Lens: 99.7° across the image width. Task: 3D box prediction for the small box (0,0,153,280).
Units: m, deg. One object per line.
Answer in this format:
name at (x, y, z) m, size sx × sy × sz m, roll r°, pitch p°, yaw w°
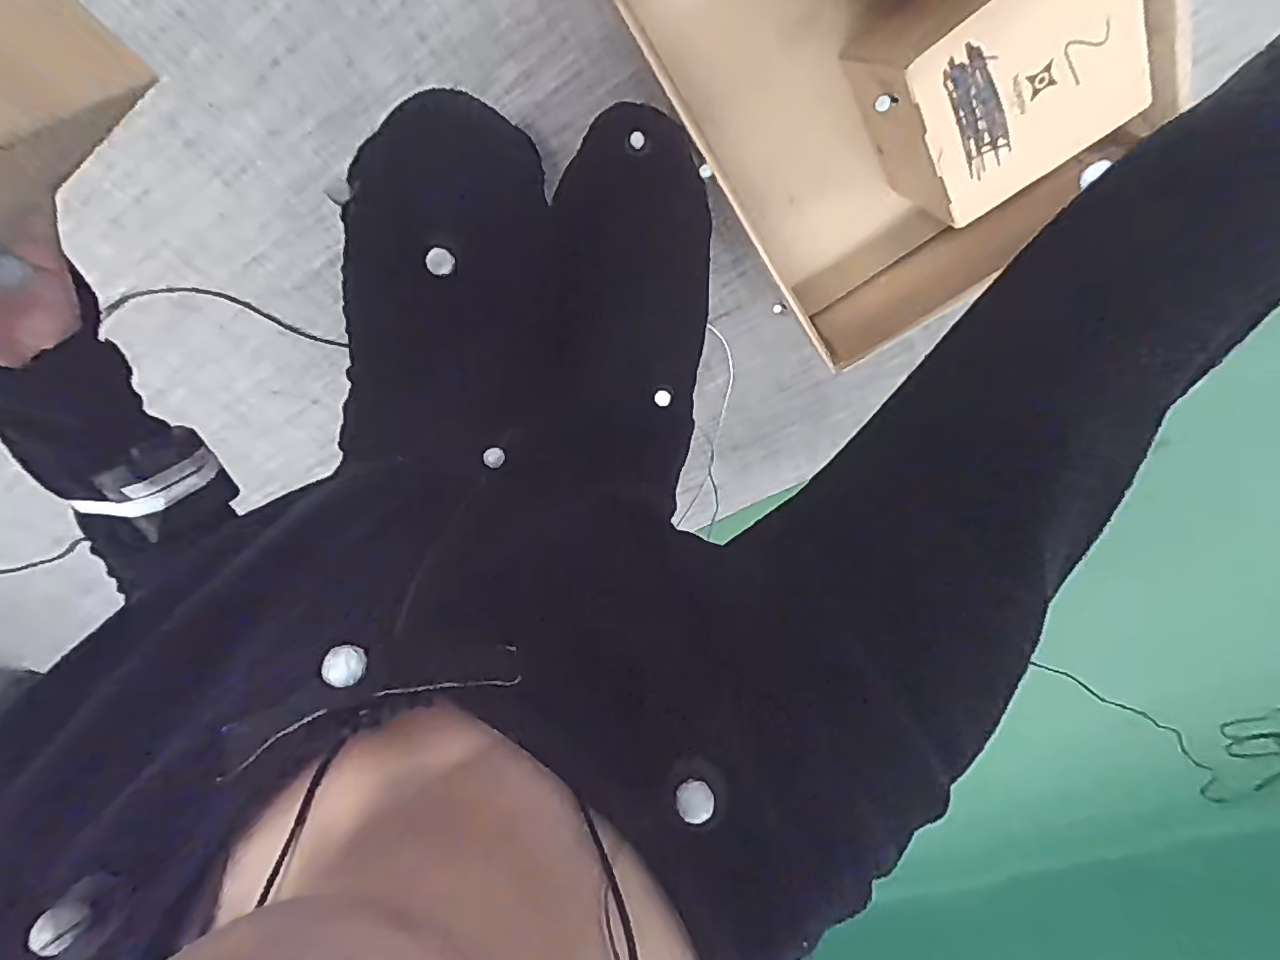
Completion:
small box at (-0.298, -0.114, 0.140) m, size 0.168 × 0.176 × 0.179 m, roll -29°, pitch 135°, yaw 14°
